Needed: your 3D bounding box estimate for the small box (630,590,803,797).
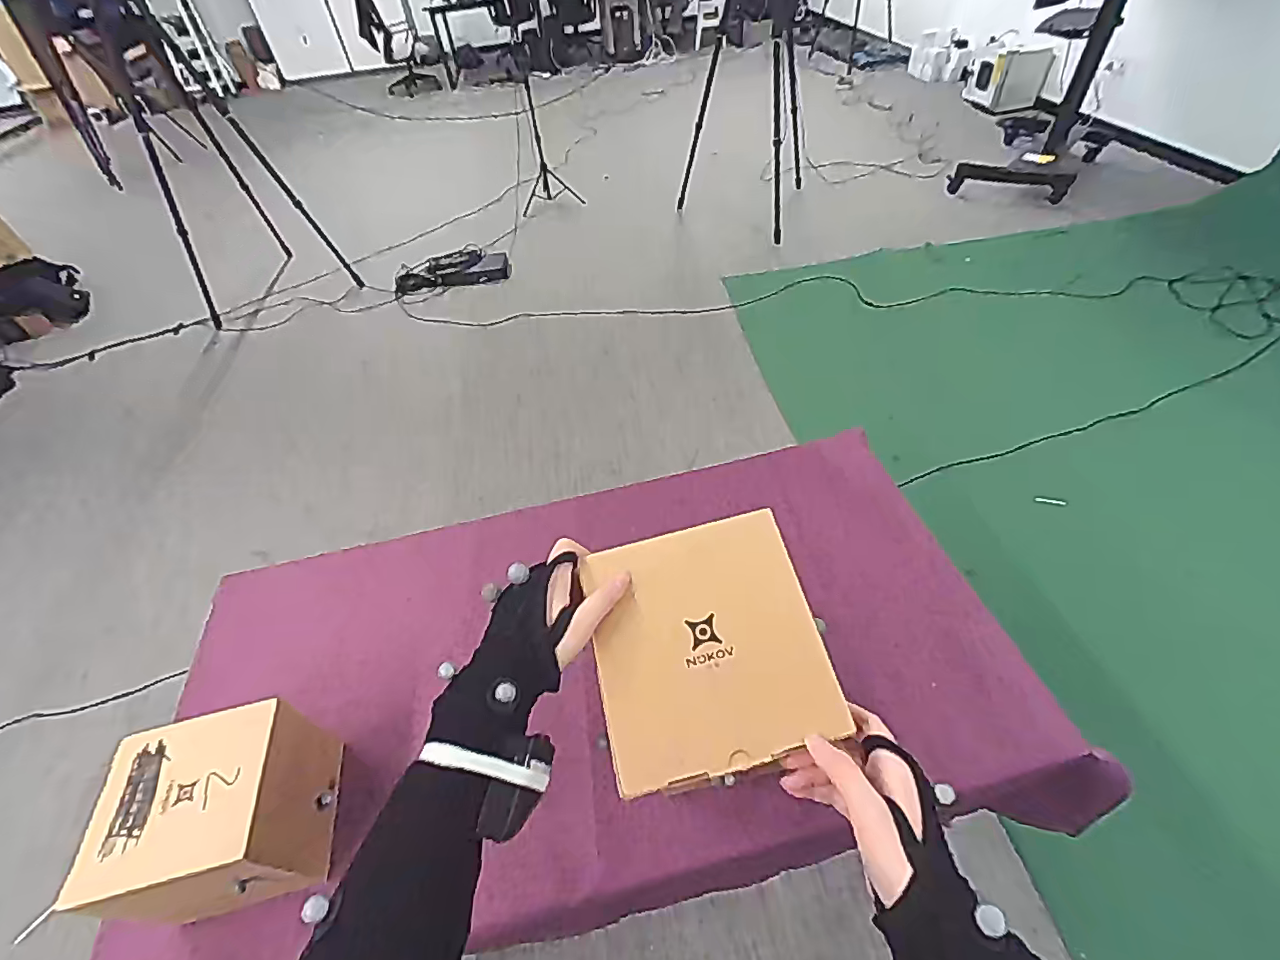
[{"bbox_3d":[0.085,0.267,0.676,0.168,0.176,0.179,-11,48,-2],"label":"small box"}]
